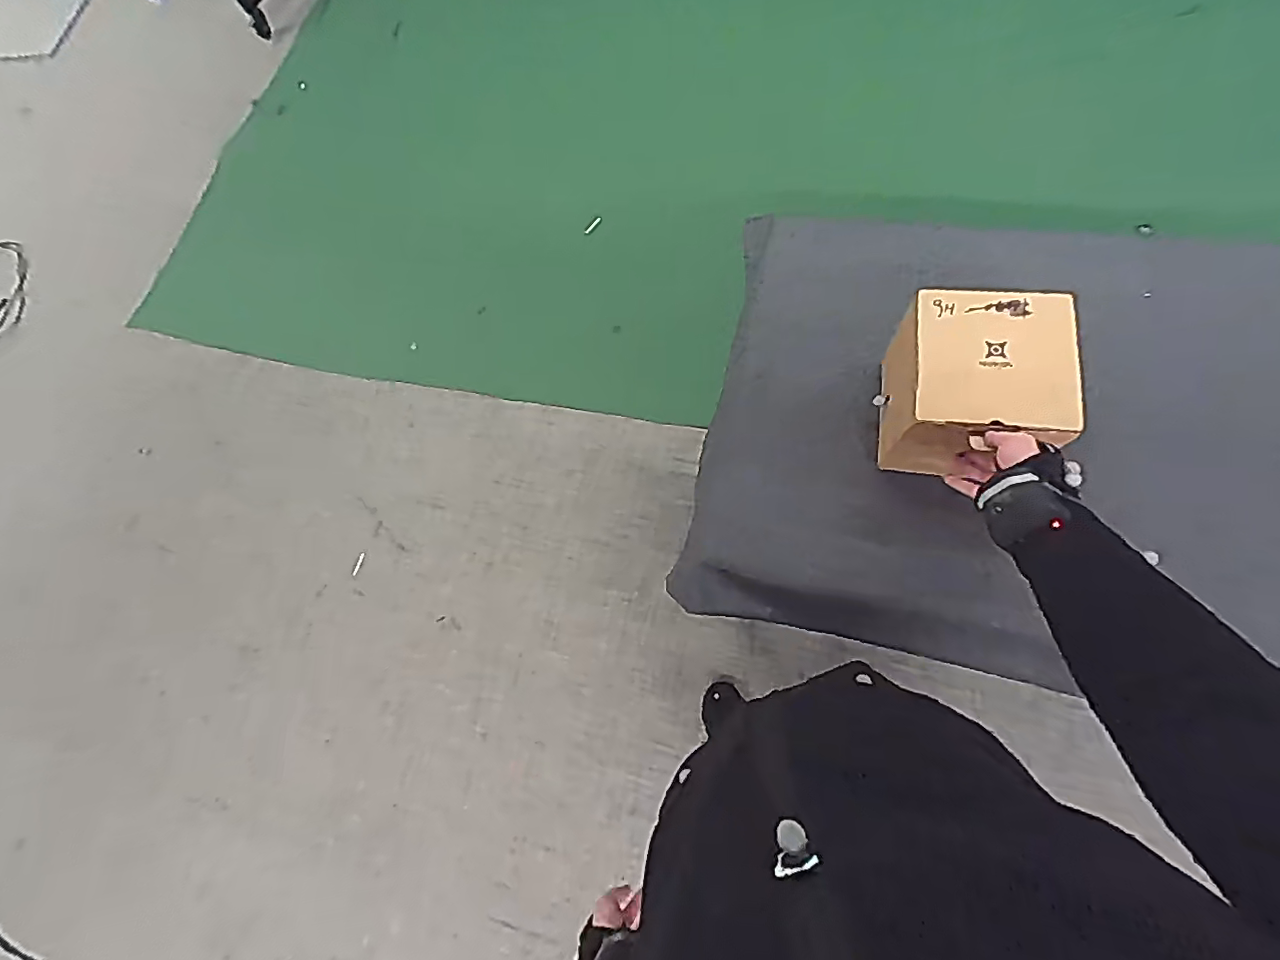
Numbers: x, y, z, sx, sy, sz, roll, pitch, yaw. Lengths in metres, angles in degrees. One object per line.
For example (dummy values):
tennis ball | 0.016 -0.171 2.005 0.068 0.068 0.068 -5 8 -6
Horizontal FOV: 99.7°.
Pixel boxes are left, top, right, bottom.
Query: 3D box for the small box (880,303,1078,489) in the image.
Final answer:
small box | 0.413 -0.099 0.686 0.168 0.176 0.179 7 72 12
